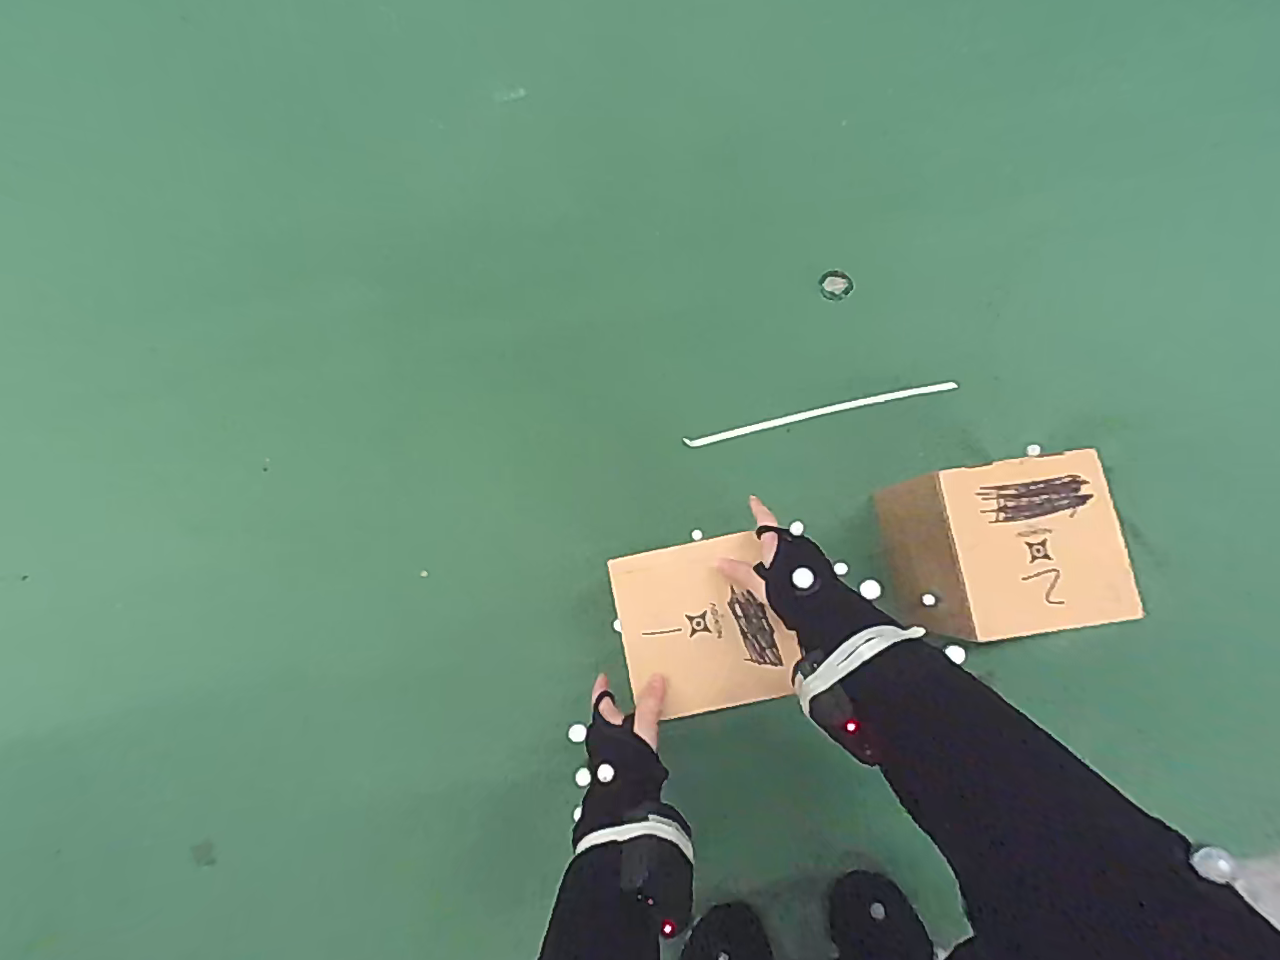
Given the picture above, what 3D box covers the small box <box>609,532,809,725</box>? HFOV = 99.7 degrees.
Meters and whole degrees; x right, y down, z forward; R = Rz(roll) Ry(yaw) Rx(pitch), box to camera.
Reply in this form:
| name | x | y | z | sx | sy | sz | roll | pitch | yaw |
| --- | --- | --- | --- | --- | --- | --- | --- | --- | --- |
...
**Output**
| name | x | y | z | sx | sy | sz | roll | pitch | yaw |
| --- | --- | --- | --- | --- | --- | --- | --- | --- | --- |
| small box | 0.071 | 0.159 | 0.621 | 0.179 | 0.176 | 0.168 | -12 | 80 | 2 |
